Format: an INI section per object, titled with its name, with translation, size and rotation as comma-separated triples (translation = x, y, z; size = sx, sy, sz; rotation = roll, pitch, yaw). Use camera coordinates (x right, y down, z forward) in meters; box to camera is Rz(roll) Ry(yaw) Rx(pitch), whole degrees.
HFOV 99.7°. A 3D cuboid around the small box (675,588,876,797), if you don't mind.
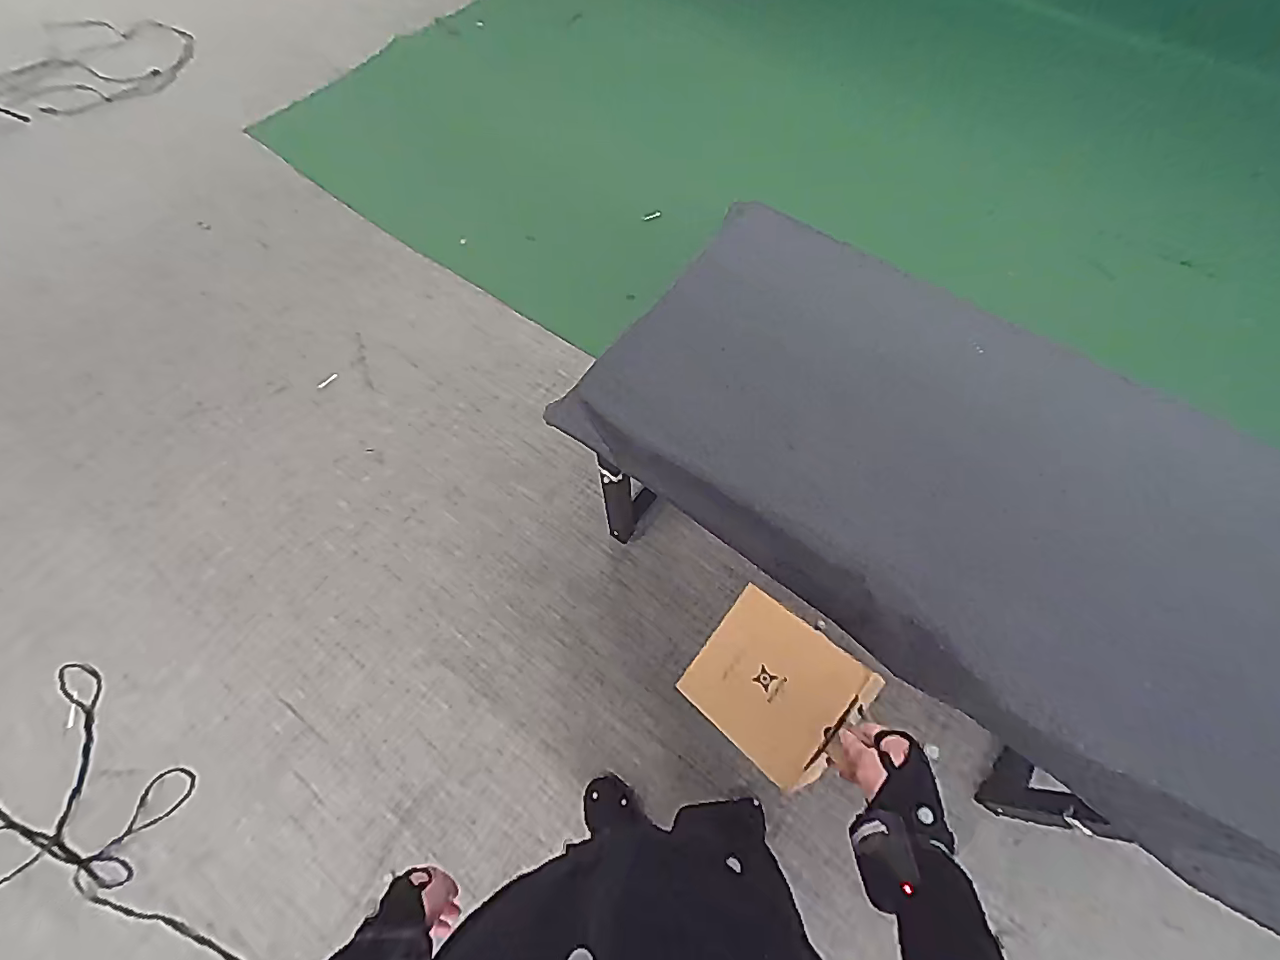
[small box]
translation = 0.183, 0.268, 0.700
size = 0.179, 0.176, 0.168
rotation = 35, 86, 34
